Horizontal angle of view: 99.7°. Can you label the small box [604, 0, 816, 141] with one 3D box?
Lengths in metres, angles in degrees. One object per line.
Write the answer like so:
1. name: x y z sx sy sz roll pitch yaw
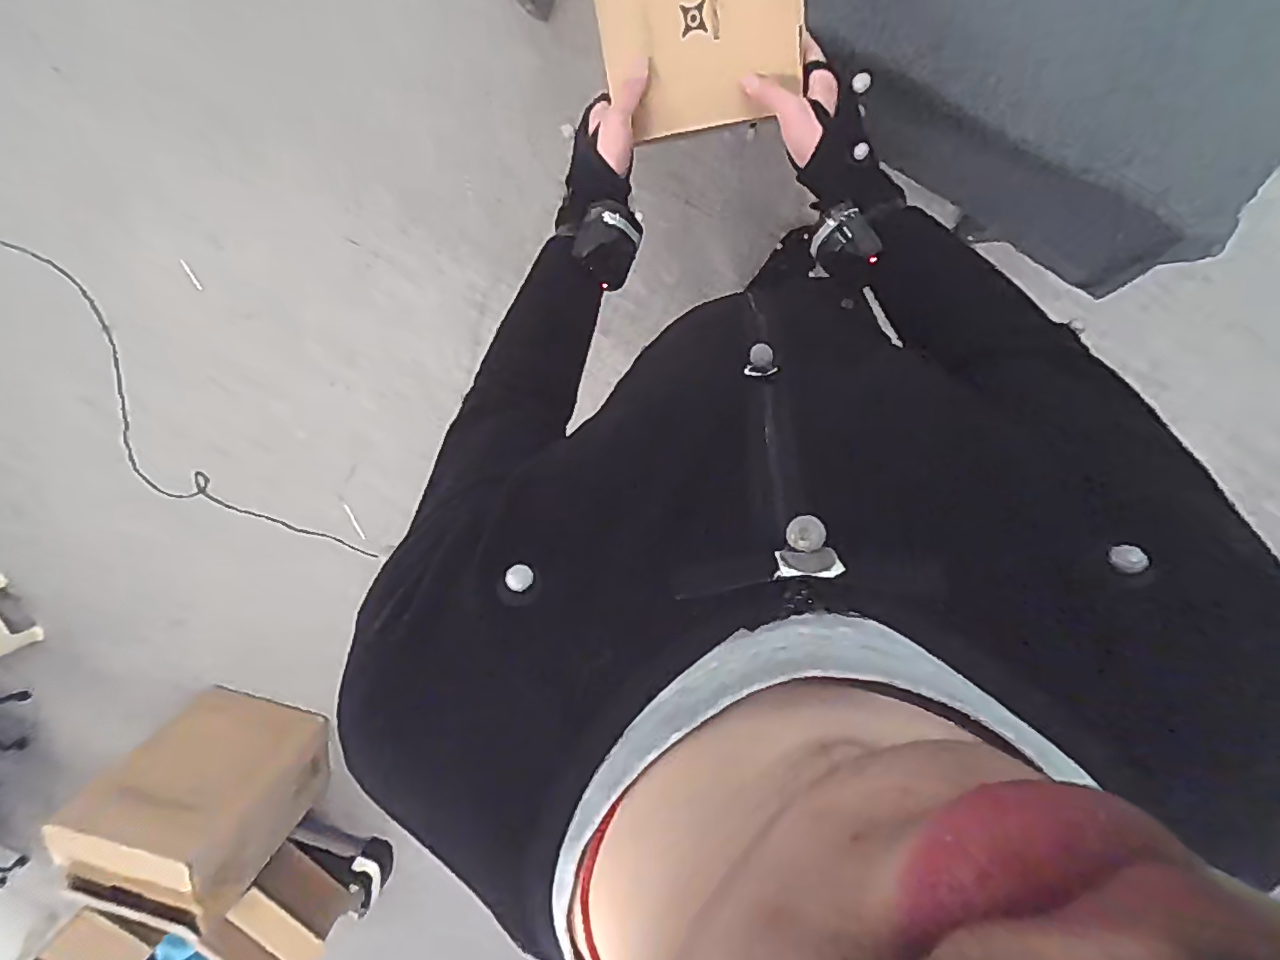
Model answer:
1. small box: 0.066 -0.437 0.521 0.179 0.176 0.168 -5 120 11
